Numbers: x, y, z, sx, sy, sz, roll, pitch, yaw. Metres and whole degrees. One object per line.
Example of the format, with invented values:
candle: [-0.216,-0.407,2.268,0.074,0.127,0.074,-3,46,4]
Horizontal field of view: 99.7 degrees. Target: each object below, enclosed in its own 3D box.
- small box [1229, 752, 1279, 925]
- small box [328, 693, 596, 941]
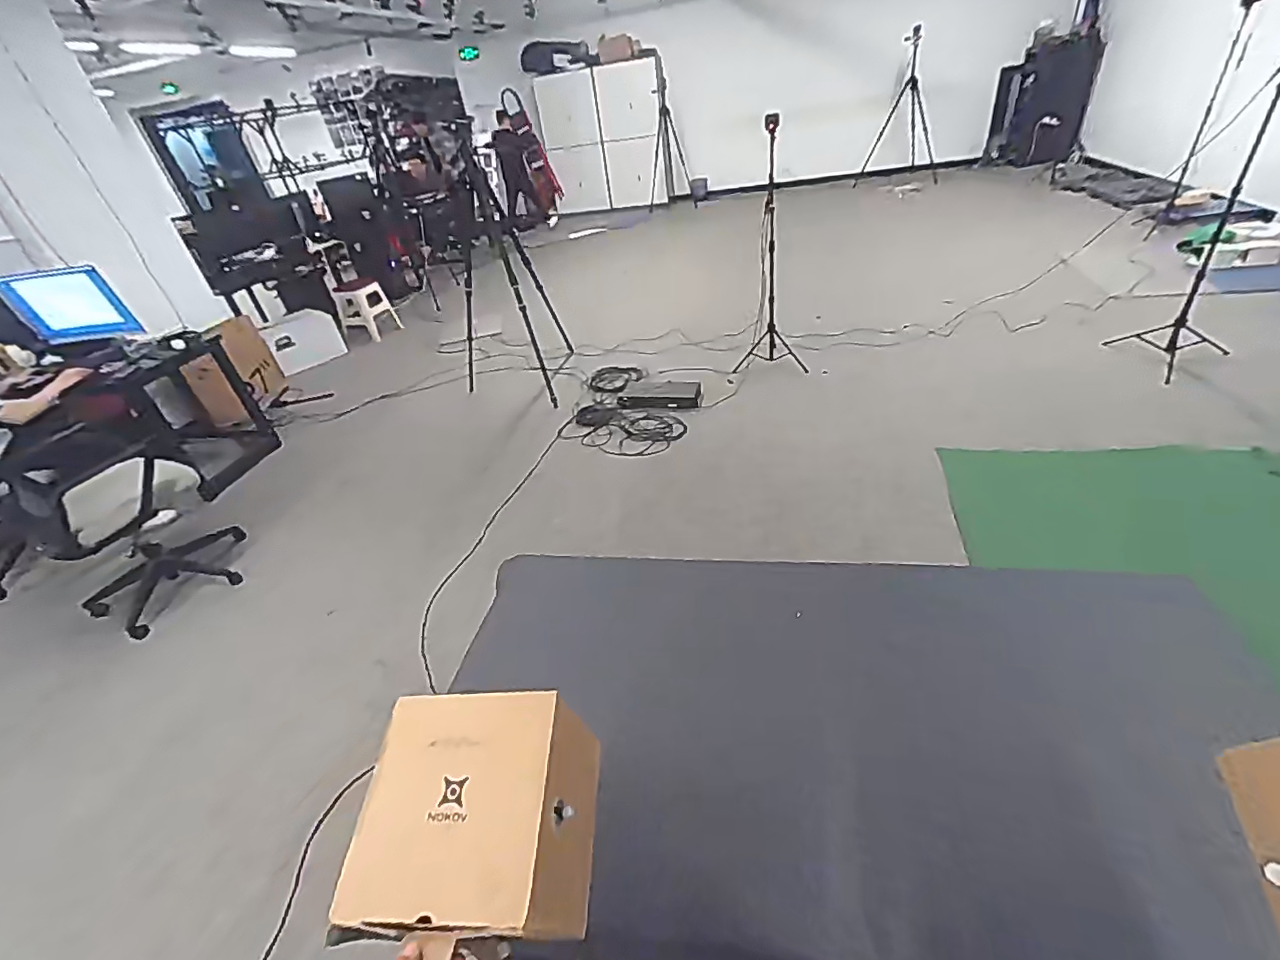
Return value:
small box: [0.540,0.269,0.328,0.168,0.176,0.179,2,57,14]
small box: [-0.143,0.321,0.514,0.168,0.176,0.179,-5,48,8]
